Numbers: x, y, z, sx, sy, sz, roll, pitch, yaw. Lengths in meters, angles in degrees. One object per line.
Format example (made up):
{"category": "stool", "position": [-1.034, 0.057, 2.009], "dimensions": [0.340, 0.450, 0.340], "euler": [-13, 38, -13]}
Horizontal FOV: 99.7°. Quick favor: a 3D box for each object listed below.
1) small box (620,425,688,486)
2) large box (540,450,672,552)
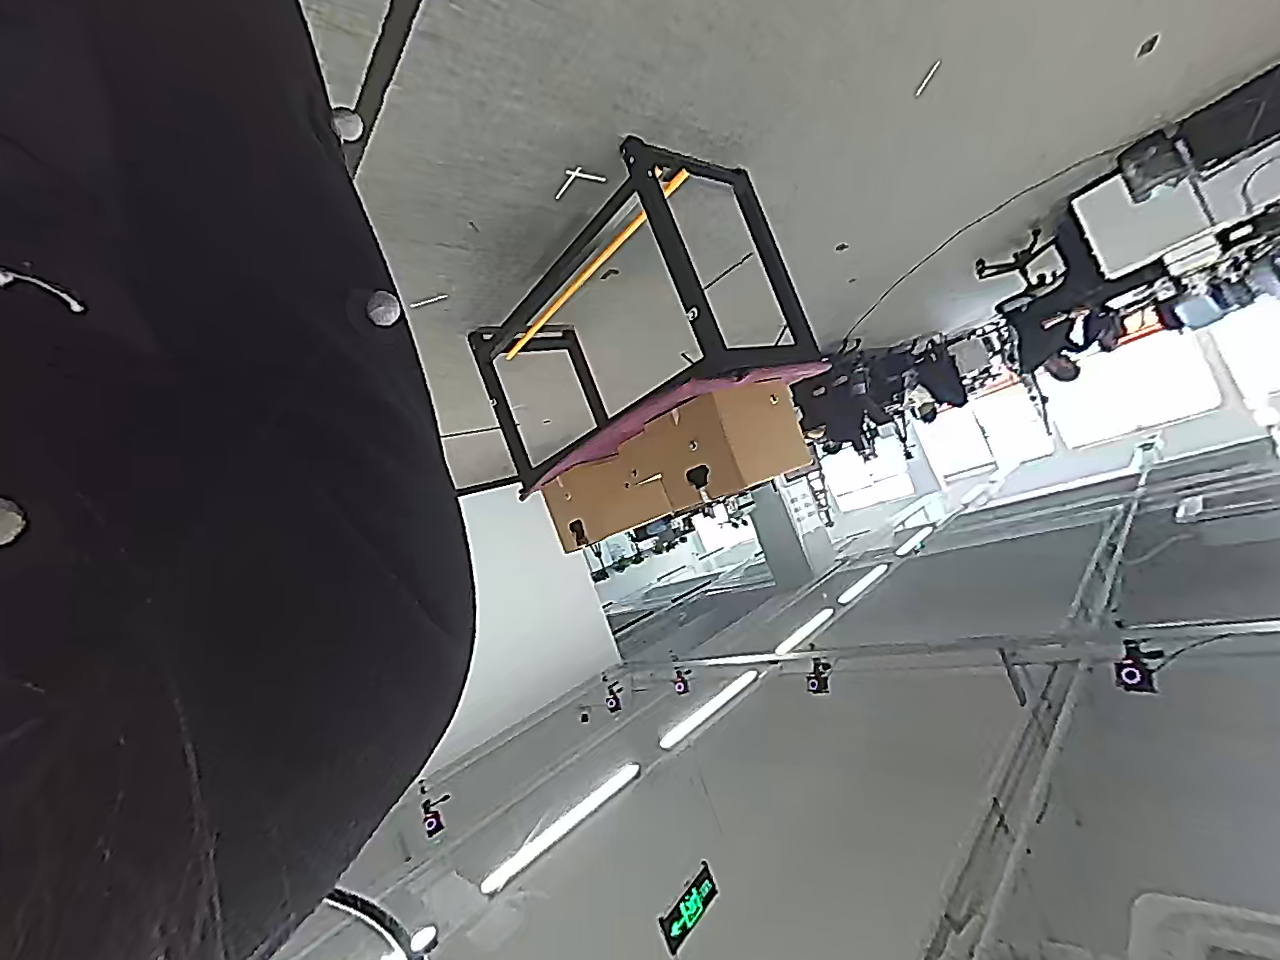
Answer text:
{"category": "small box", "position": [0.045, -0.096, 2.031], "dimensions": [0.168, 0.176, 0.179], "euler": [-18, 175, -42]}
{"category": "large box", "position": [-0.148, 0.071, 2.301], "dimensions": [0.408, 0.320, 0.320], "euler": [-18, 176, -43]}
